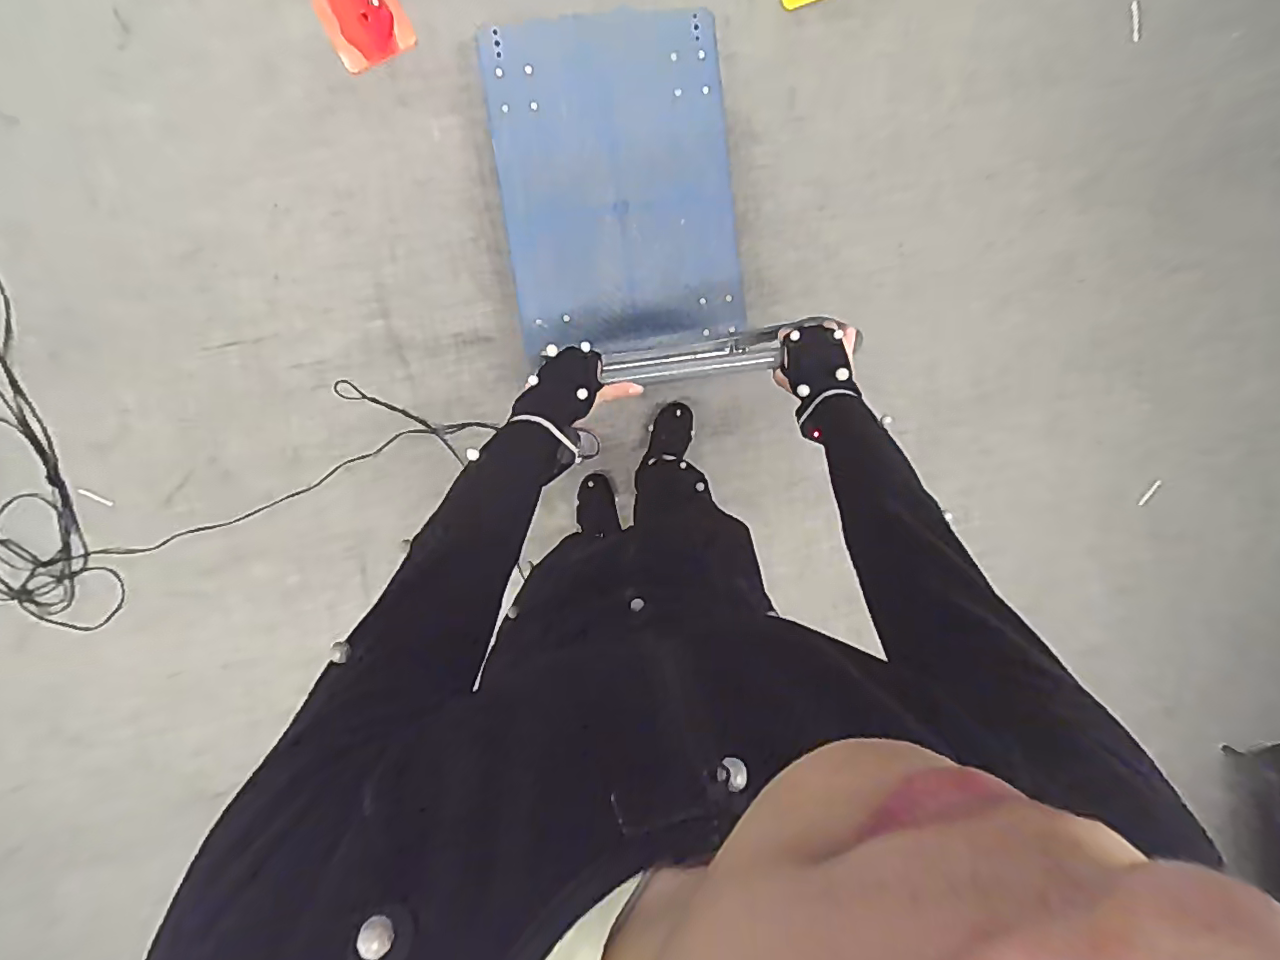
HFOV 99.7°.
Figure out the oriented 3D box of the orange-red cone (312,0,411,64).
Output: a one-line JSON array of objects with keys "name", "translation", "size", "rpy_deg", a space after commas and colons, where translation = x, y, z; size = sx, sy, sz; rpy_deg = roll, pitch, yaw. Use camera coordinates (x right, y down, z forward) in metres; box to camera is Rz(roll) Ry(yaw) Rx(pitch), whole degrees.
[{"name": "orange-red cone", "translation": [-0.692, -1.163, 1.203], "size": [0.199, 0.360, 0.198], "rpy_deg": [-26, 98, -1]}]
